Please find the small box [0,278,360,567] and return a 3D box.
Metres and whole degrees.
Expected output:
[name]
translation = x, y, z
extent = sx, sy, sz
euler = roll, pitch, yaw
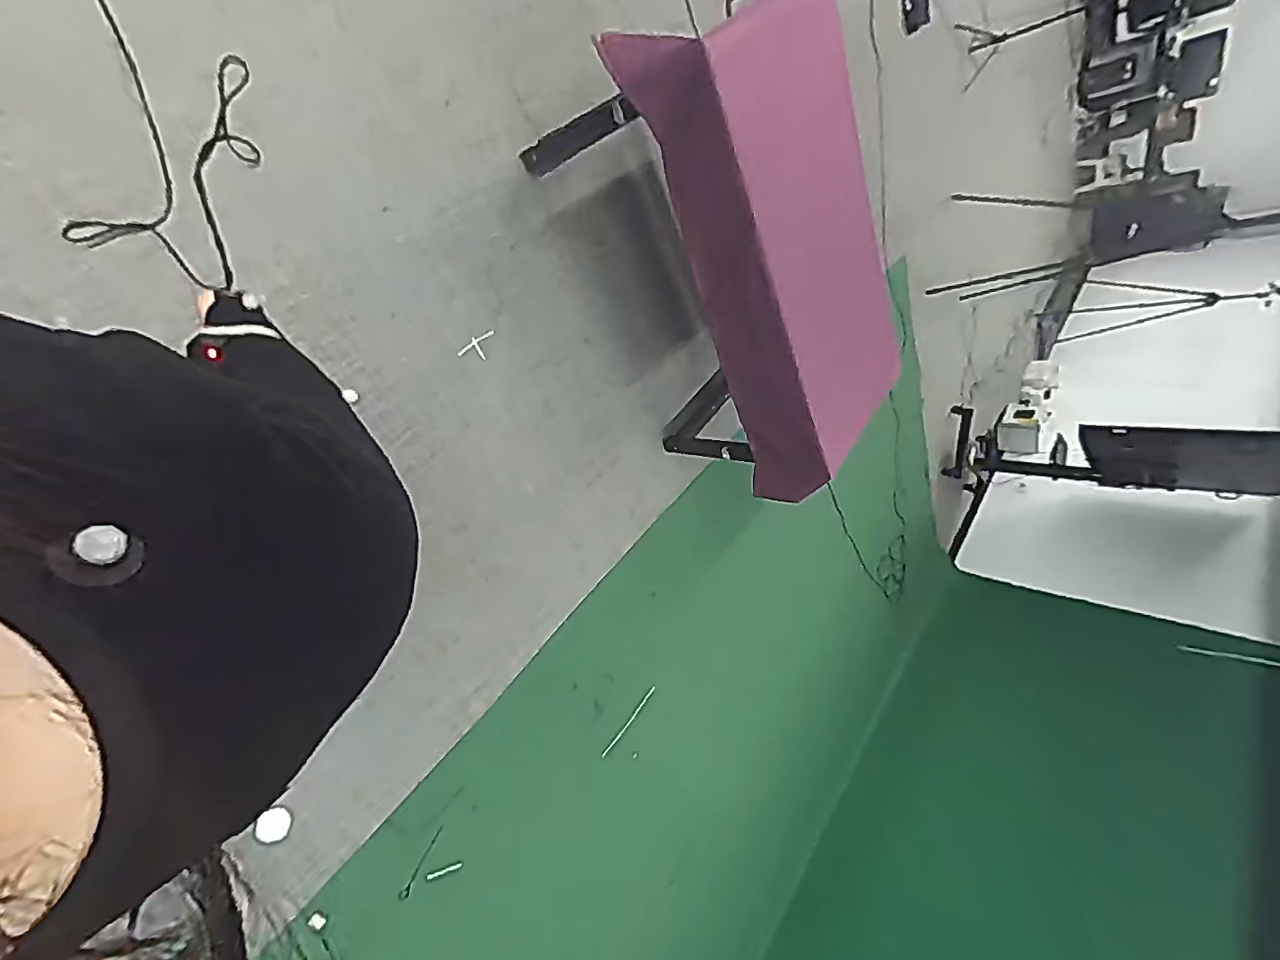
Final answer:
[small box]
translation = -0.399, -0.046, 0.518
extent = 0.168, 0.176, 0.179
euler = 35, 62, 4
